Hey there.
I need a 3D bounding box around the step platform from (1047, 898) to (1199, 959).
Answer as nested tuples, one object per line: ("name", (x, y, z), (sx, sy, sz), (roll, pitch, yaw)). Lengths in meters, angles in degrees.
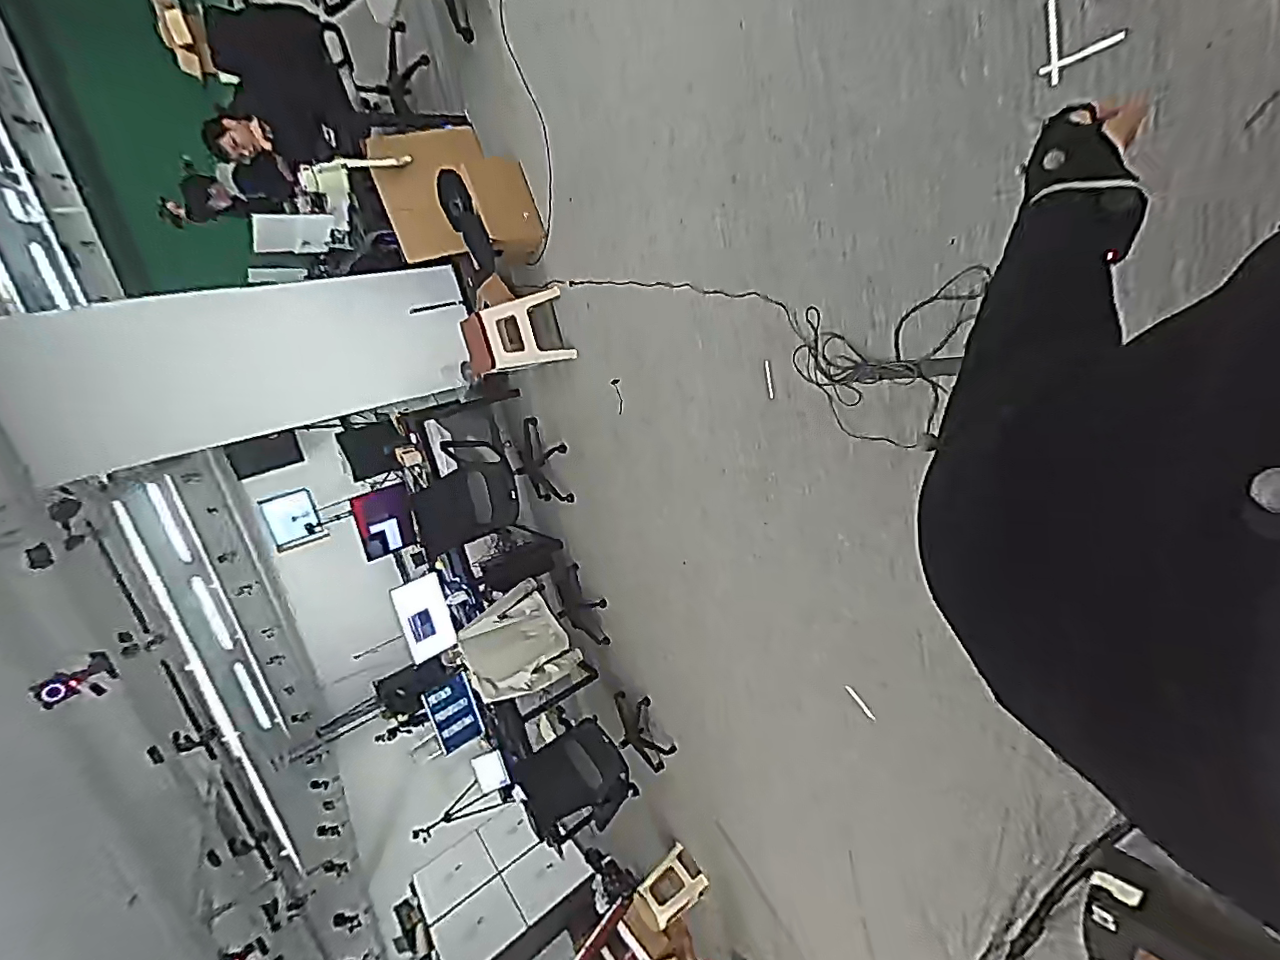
("step platform", (1.307, 1.262, 1.150), (0.684, 0.204, 0.286), (6, 115, 56))
